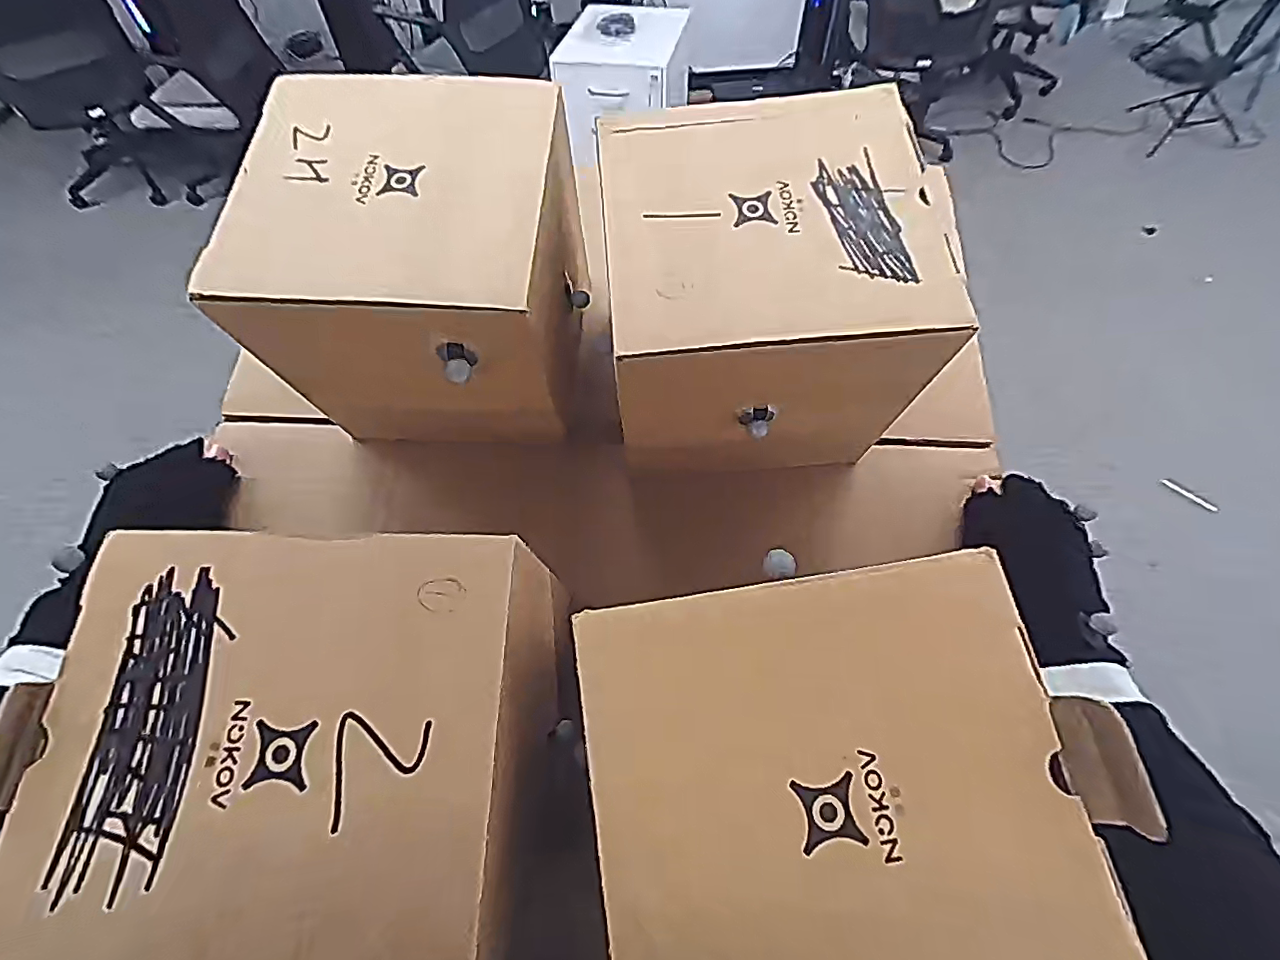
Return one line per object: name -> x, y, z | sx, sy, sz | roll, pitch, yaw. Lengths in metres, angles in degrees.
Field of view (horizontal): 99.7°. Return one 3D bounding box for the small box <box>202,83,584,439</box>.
small box -> -0.139, -0.138, 0.385 | 0.179, 0.176, 0.168 | 3, 69, 3
